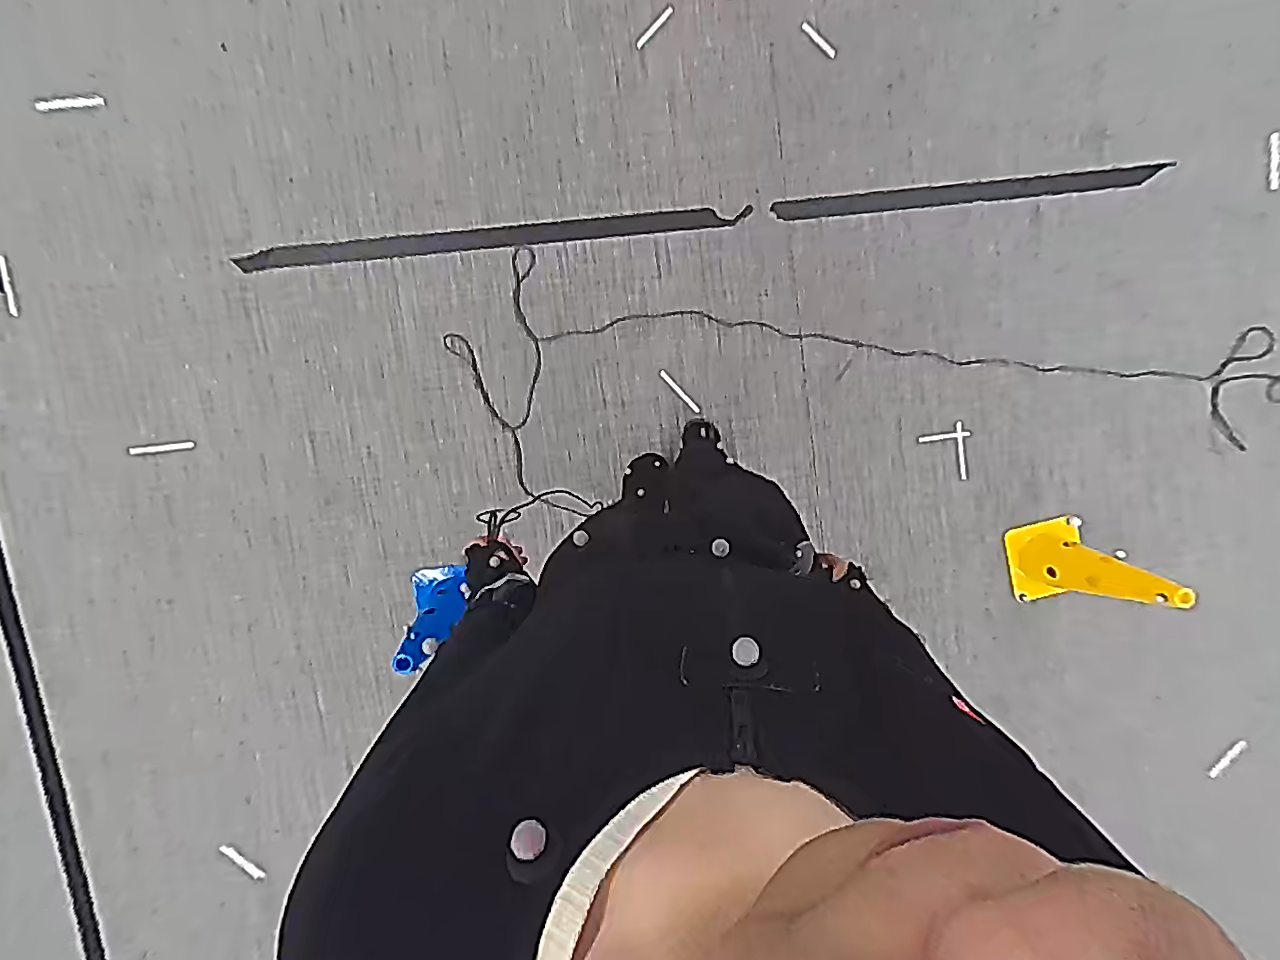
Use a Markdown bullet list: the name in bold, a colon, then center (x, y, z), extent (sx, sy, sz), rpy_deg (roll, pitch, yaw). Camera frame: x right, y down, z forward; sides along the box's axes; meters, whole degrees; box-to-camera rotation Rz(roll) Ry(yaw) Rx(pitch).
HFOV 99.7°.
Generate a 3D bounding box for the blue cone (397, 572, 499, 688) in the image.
- **blue cone**: center (-0.452, 0.345, 1.197), extent (0.193, 0.380, 0.192), rpy_deg (-7, 96, -2)
